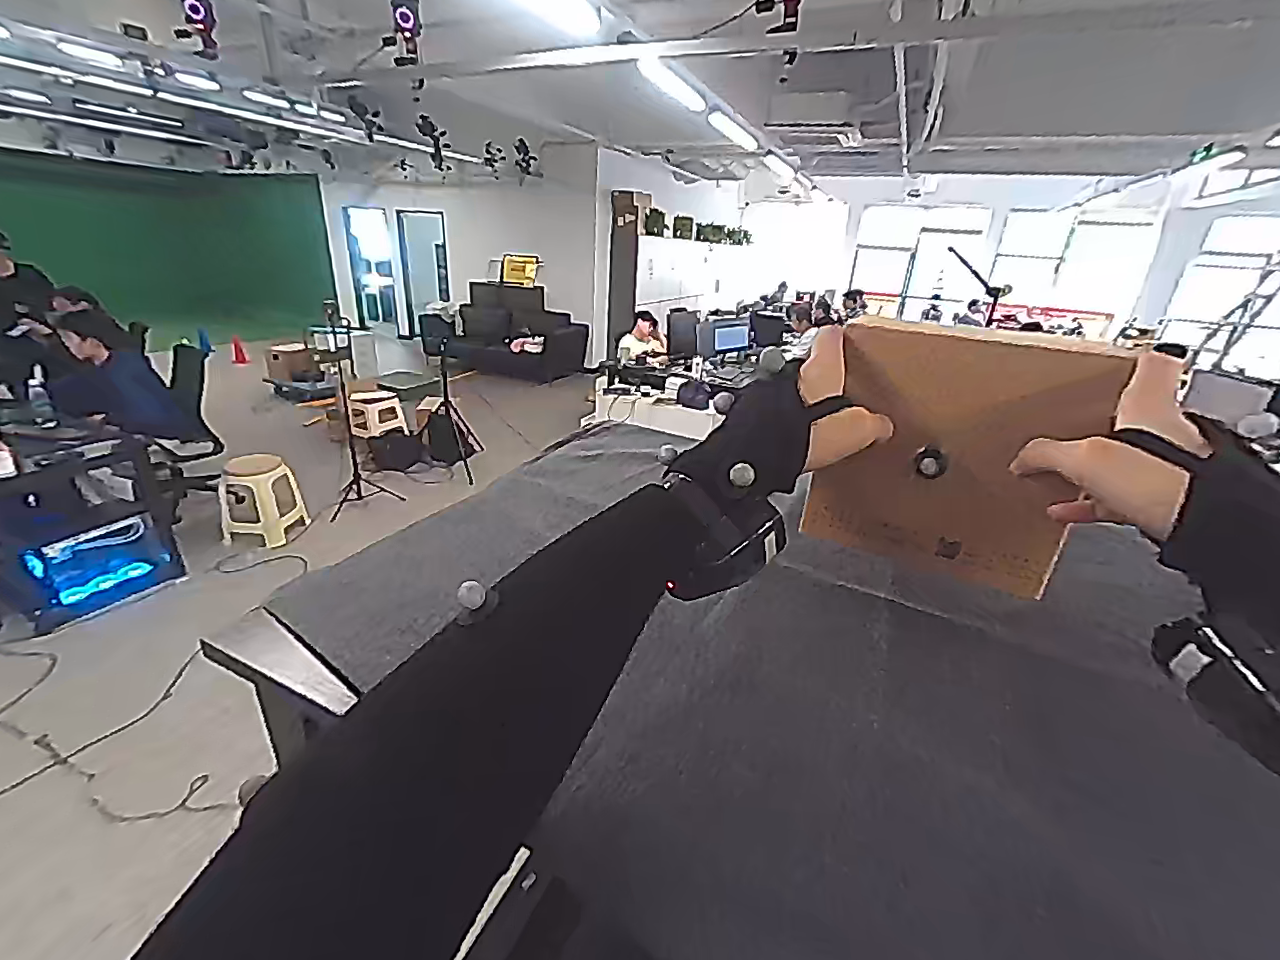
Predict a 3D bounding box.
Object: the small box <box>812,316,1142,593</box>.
[{"bbox_3d":[0.248,-0.034,0.436,0.168,0.176,0.179,16,24,25],"label":"small box"}]
